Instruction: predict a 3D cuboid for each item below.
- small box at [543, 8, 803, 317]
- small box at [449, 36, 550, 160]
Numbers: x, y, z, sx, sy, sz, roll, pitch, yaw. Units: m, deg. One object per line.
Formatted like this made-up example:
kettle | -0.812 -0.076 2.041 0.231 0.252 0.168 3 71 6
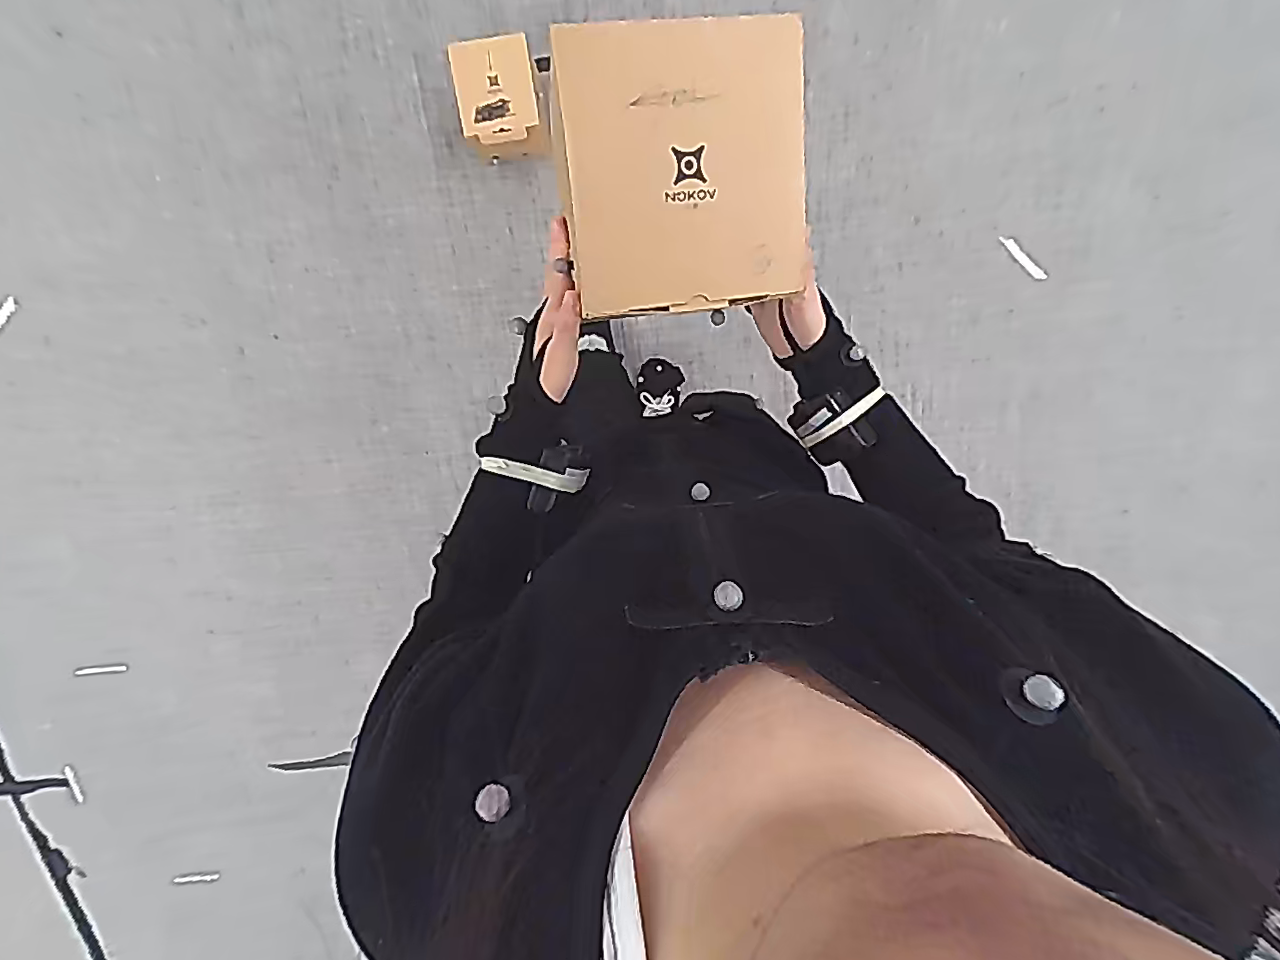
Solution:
small box | 0.018 -0.230 0.439 0.168 0.176 0.179 -9 106 -7
small box | -0.301 -0.837 1.207 0.168 0.176 0.179 -8 104 1
